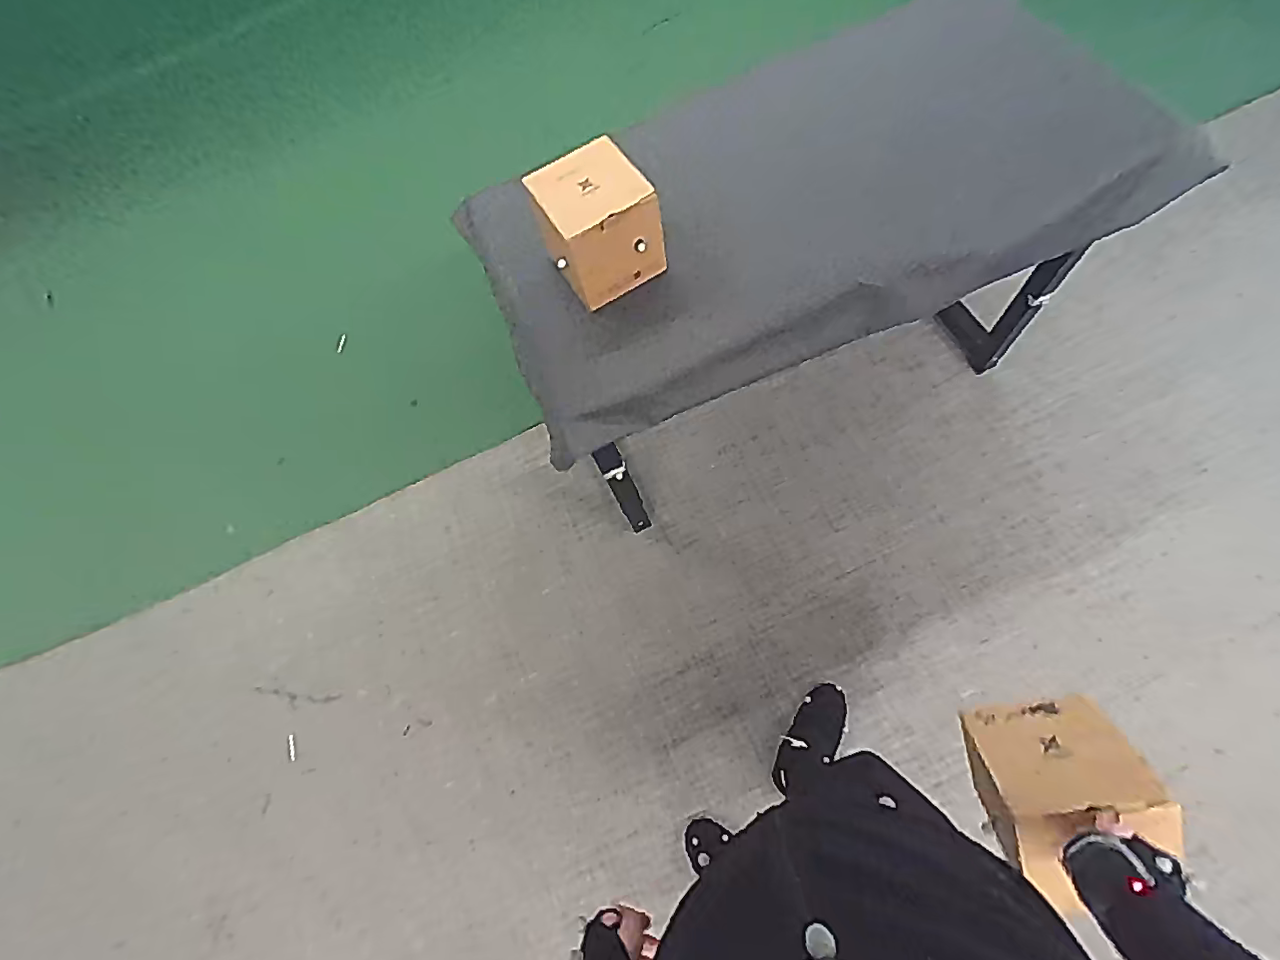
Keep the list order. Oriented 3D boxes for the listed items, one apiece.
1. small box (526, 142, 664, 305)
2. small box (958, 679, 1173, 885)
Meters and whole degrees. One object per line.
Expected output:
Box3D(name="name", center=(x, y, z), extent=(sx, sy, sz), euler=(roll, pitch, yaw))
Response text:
Box3D(name="small box", center=(-0.070, -0.437, 0.950), extent=(0.168, 0.176, 0.179), euler=(-31, 66, -6))
Box3D(name="small box", center=(0.552, 0.400, 0.714), extent=(0.168, 0.179, 0.176), euler=(-16, 110, 16))
